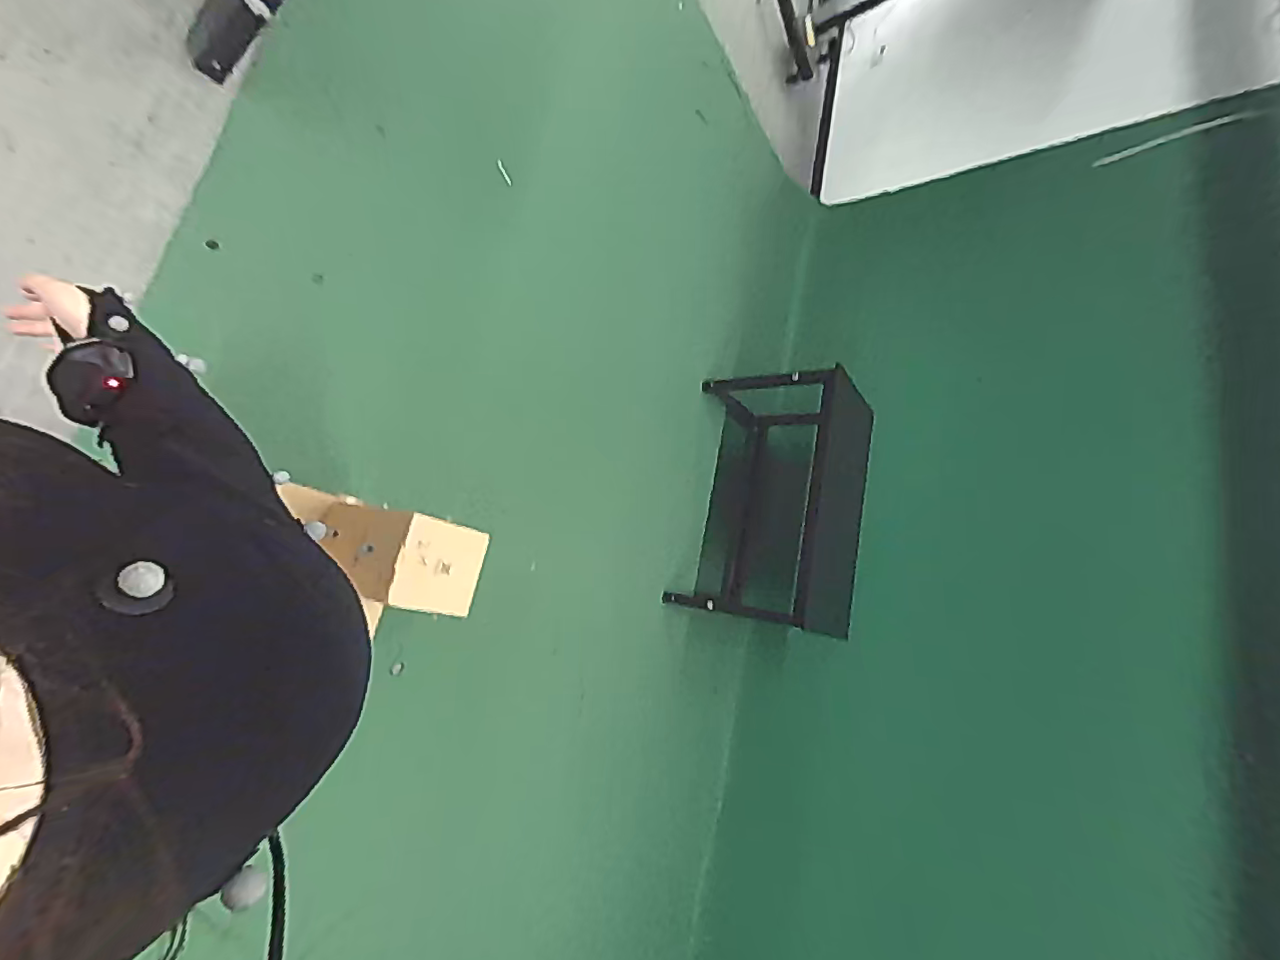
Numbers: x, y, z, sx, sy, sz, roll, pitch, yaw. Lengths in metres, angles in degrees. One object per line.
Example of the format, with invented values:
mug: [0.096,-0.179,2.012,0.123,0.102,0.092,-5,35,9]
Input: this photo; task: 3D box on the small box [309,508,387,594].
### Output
small box: [-0.557,0.162,1.150,0.179,0.176,0.168,30,68,-49]

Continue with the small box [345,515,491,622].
small box: [-0.429,0.168,1.048,0.179,0.176,0.168,29,69,-49]
